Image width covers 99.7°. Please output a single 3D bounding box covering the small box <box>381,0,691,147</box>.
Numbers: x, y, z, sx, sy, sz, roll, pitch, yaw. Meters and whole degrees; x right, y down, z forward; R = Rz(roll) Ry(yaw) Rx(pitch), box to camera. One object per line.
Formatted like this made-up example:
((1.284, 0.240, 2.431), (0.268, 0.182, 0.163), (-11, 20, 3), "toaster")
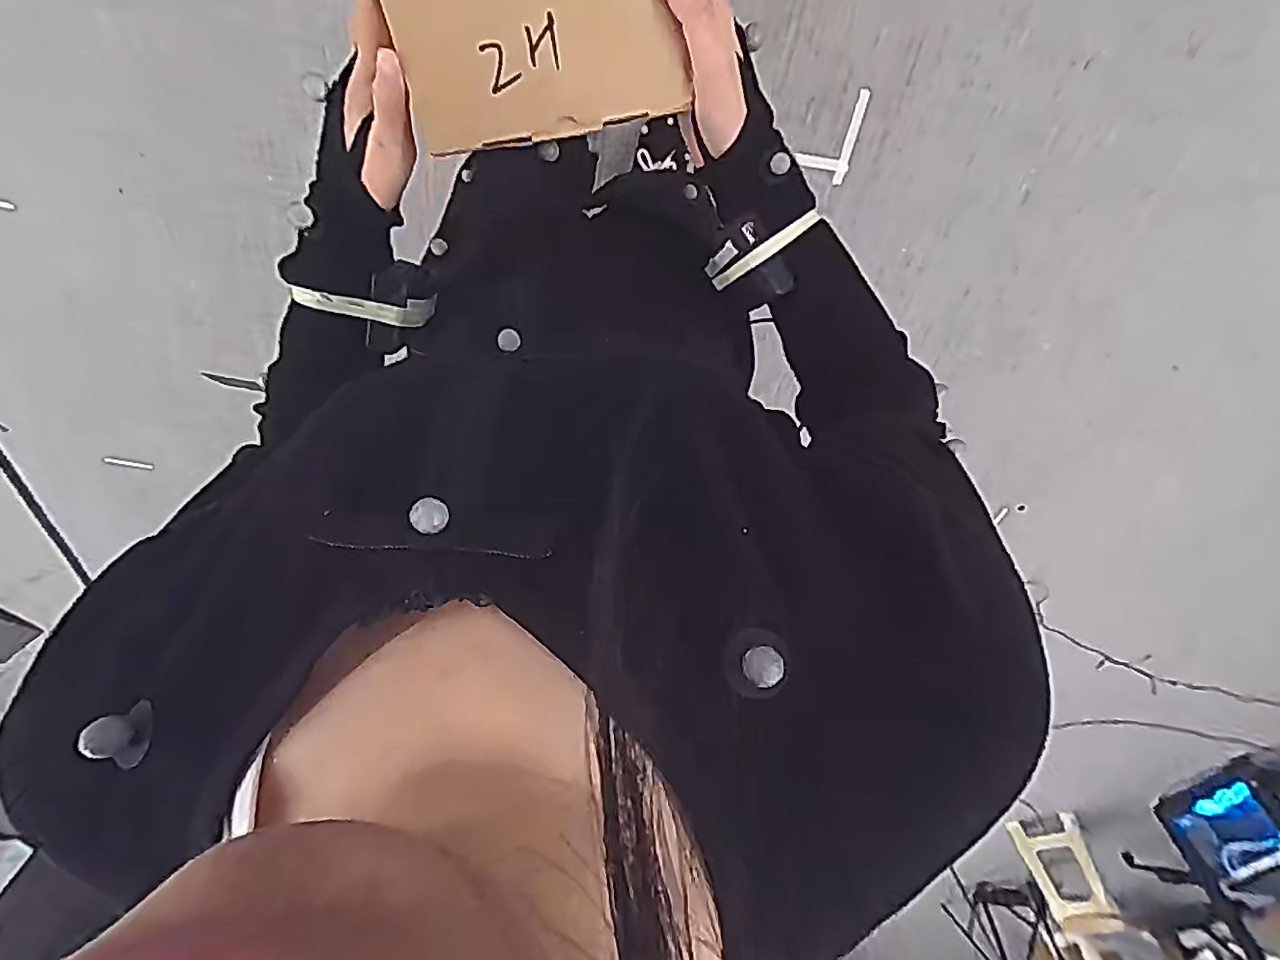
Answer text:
((-0.080, -0.324, 0.339), (0.168, 0.176, 0.179), (-16, 124, -8), "small box")
